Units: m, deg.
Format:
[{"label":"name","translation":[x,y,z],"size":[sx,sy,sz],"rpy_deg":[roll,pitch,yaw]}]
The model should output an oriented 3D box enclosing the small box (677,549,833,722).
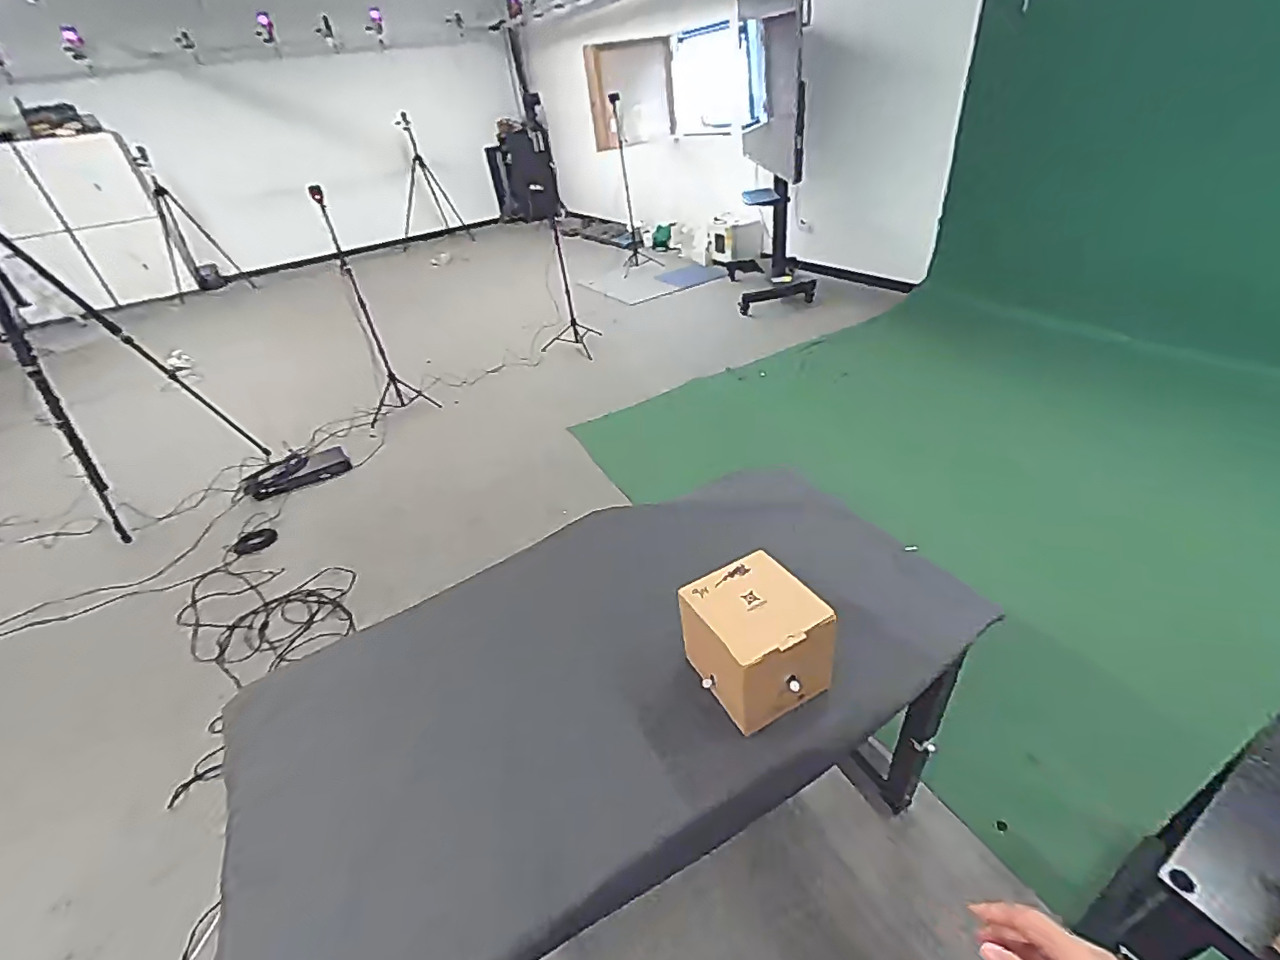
[{"label":"small box","translation":[0.177,0.246,0.848],"size":[0.168,0.176,0.179],"rpy_deg":[-22,36,-18]}]
